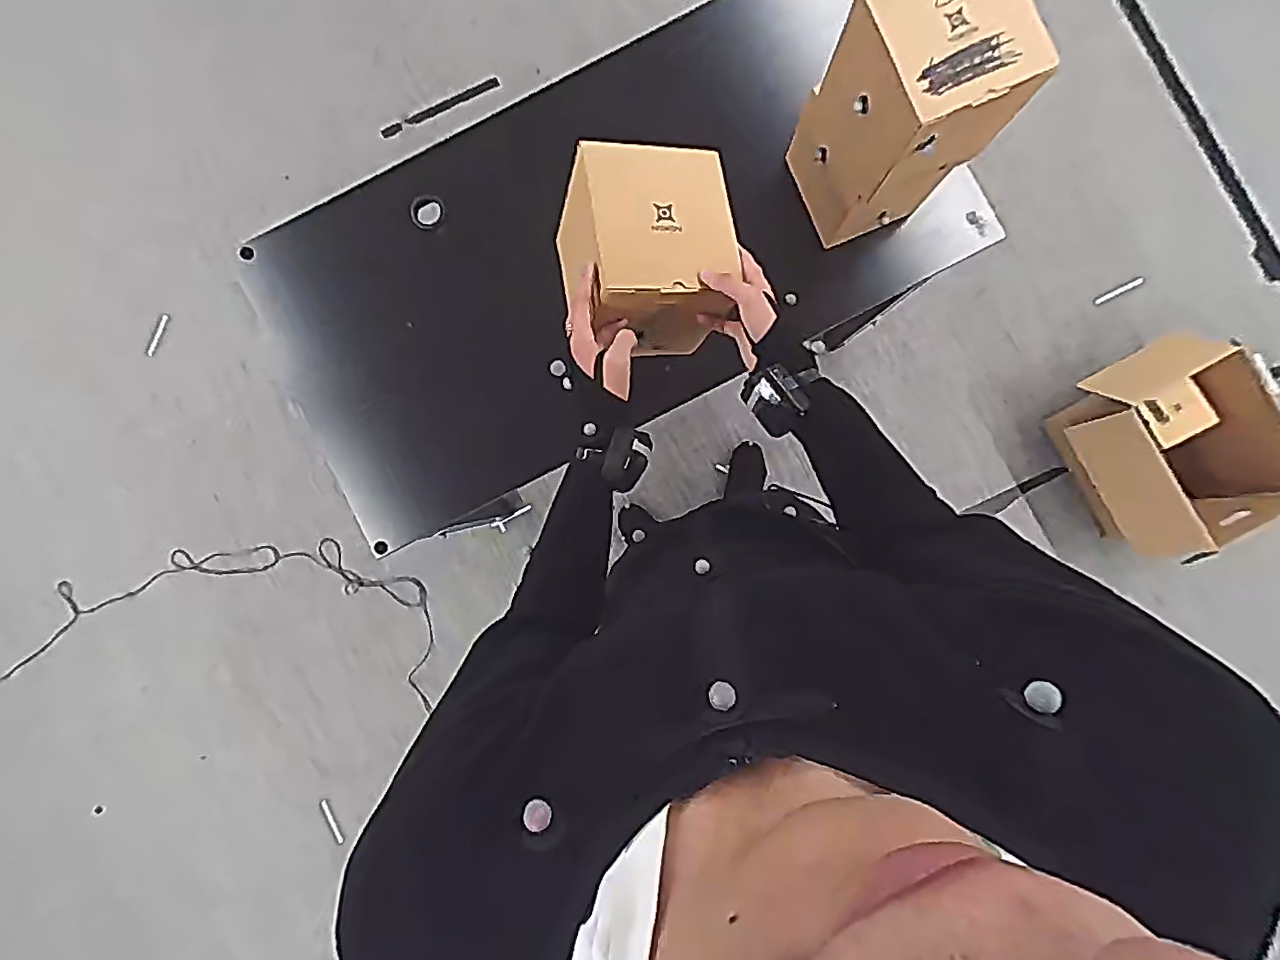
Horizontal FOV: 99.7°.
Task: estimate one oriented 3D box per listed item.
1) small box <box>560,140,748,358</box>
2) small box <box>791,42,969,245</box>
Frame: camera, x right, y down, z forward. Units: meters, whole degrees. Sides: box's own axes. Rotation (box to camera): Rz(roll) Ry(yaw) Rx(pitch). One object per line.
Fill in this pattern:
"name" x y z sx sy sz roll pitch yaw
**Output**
"small box" 0.005 -0.264 0.653 0.168 0.176 0.179 -6 81 -19
"small box" 0.352 -0.501 0.832 0.168 0.176 0.179 -22 88 2
